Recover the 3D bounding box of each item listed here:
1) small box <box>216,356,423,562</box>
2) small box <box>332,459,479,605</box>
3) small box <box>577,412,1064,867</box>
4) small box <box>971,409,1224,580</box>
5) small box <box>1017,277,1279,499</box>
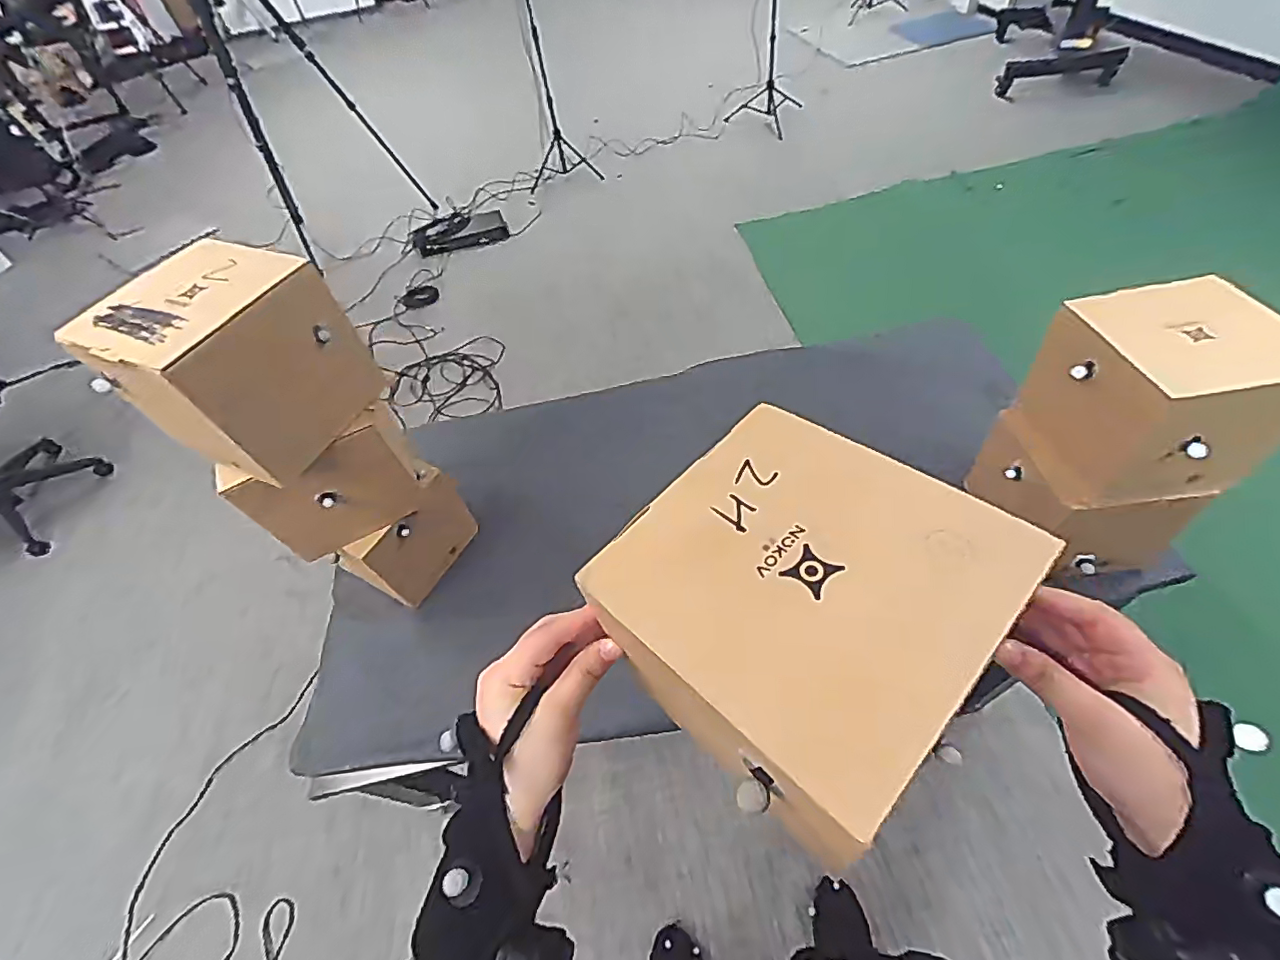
[{"bbox_3d":[-0.411,-0.025,0.717,0.179,0.176,0.168,-29,55,-12],"label":"small box"},{"bbox_3d":[-0.390,0.070,0.851,0.179,0.176,0.168,20,59,22],"label":"small box"},{"bbox_3d":[0.096,0.096,0.328,0.168,0.176,0.179,-41,52,-19],"label":"small box"},{"bbox_3d":[0.581,0.014,0.724,0.168,0.176,0.179,-8,50,6],"label":"small box"},{"bbox_3d":[0.570,-0.093,0.602,0.168,0.176,0.179,-9,48,4],"label":"small box"}]
